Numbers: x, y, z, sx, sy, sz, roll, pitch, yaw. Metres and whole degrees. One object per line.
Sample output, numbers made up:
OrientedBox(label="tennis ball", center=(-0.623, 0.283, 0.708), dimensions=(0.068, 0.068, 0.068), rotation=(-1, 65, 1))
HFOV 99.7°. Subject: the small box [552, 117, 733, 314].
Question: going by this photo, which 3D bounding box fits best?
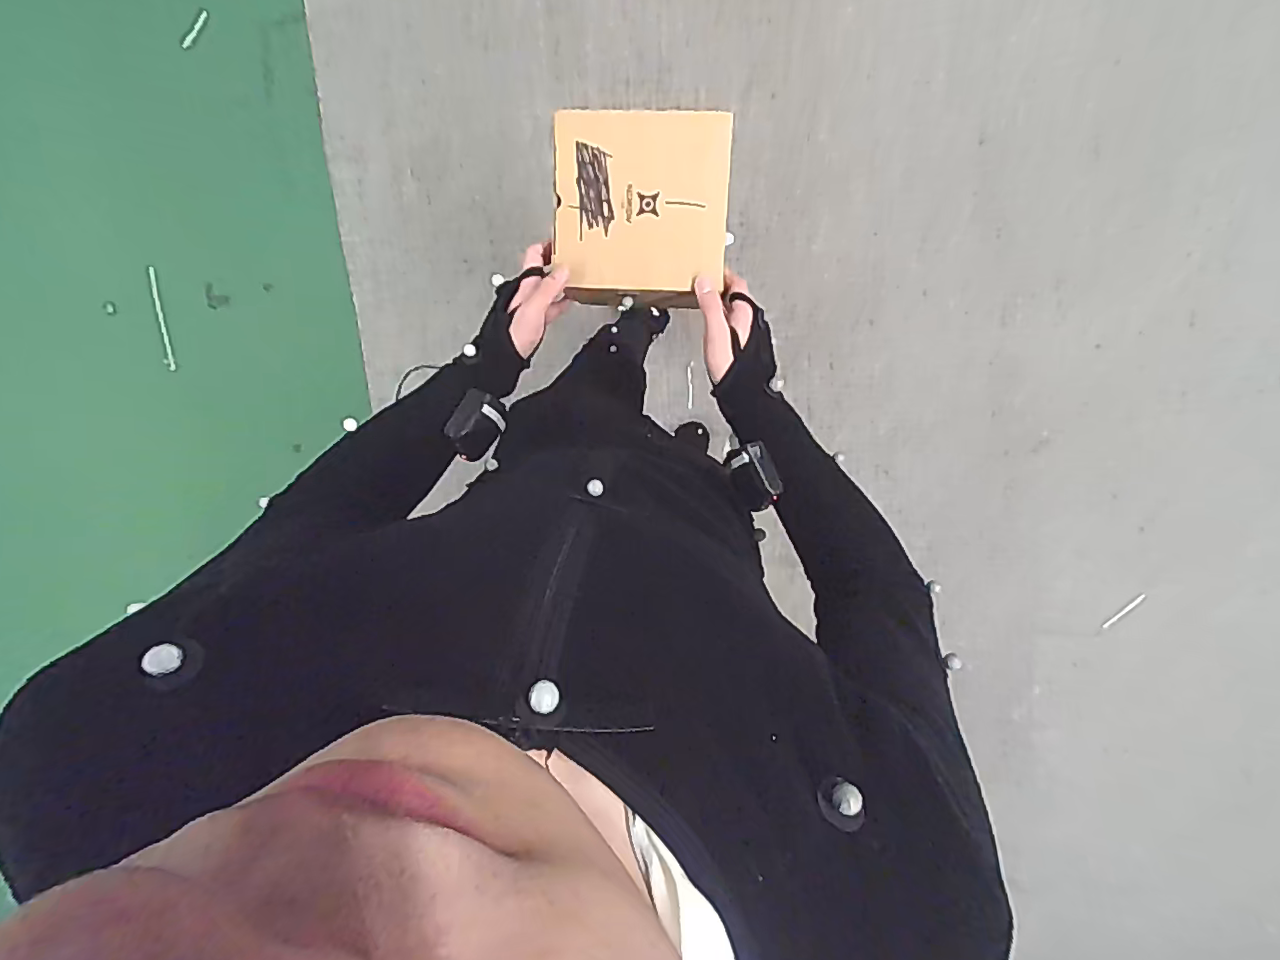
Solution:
OrientedBox(label="small box", center=(0.005, -0.285, 0.618), dimensions=(0.179, 0.176, 0.168), rotation=(3, 102, 3))
